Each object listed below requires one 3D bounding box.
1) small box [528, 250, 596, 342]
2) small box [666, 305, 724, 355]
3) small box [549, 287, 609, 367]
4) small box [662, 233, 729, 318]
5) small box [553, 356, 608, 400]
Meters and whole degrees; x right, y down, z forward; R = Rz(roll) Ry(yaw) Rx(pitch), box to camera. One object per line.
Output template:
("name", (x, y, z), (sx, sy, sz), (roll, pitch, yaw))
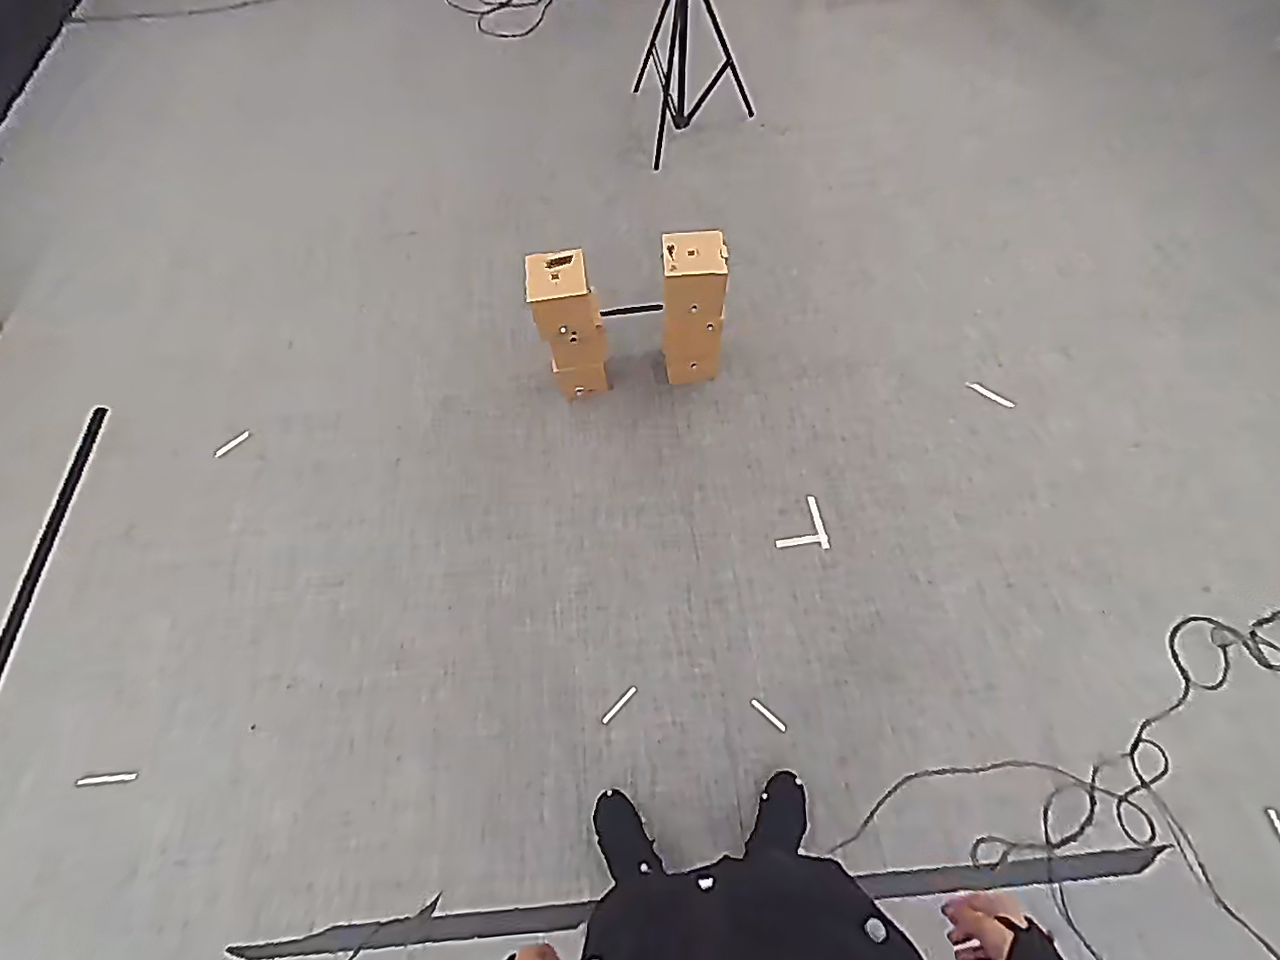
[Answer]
("small box", (-0.224, -0.527, 1.559), (0.168, 0.176, 0.179), (-8, 65, 1))
("small box", (0.169, -0.514, 1.717), (0.179, 0.176, 0.168), (-2, 64, 2))
("small box", (-0.203, -0.479, 1.718), (0.179, 0.176, 0.168), (-11, 64, -2))
("small box", (0.156, -0.590, 1.572), (0.179, 0.176, 0.168), (-2, 64, 0))
("small box", (-0.207, -0.403, 1.863), (0.168, 0.176, 0.179), (-10, 64, -1))
